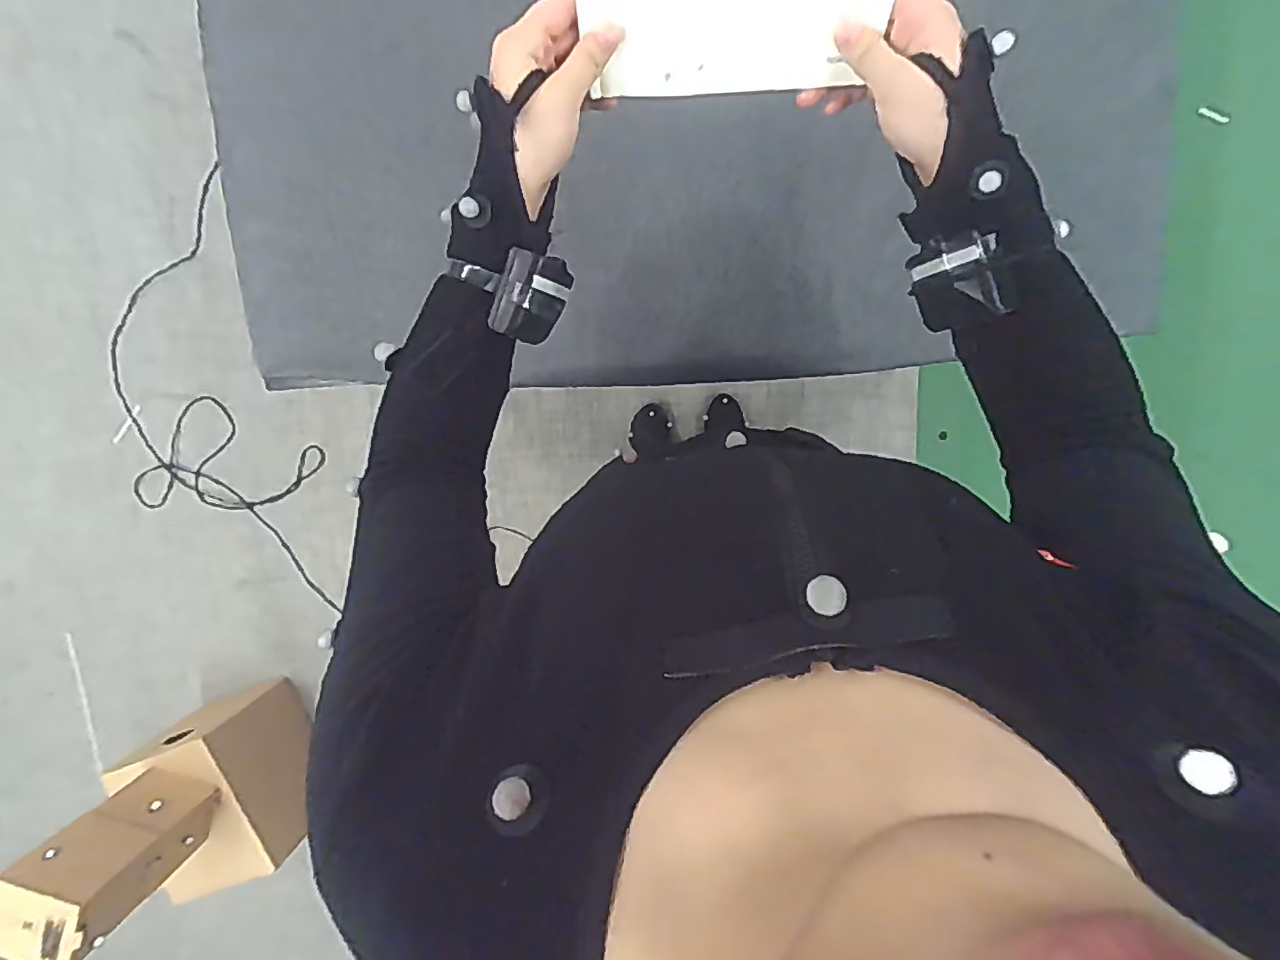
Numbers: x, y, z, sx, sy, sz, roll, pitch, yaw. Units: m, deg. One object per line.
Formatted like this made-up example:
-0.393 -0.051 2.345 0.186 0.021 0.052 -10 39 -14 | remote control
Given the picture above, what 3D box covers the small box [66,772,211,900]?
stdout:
-1.162 0.824 1.267 0.179 0.176 0.168 18 98 -3 | small box
